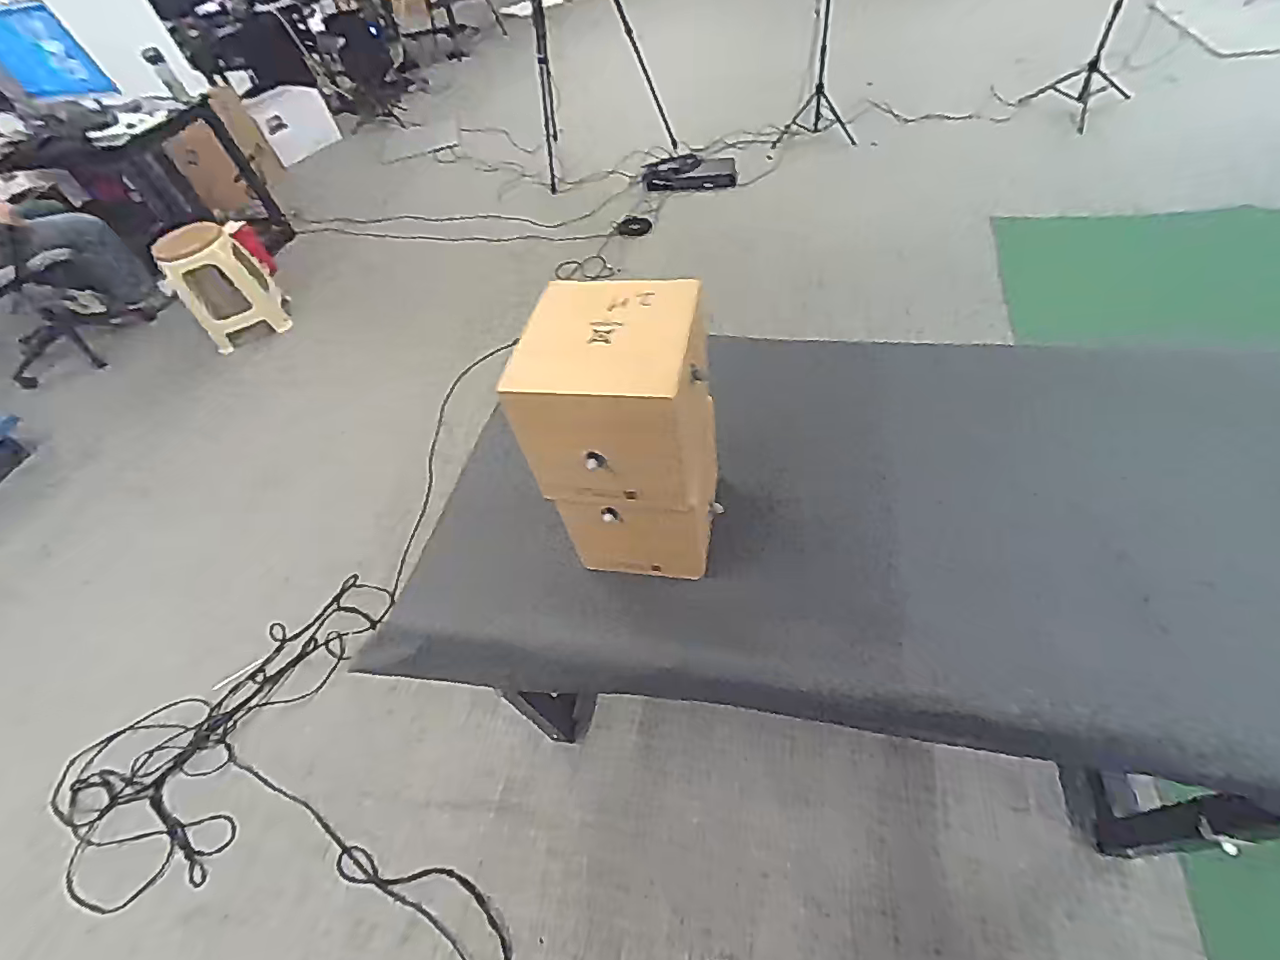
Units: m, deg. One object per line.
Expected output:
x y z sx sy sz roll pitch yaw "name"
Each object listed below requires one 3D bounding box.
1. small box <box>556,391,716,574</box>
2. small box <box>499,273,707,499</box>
0.008 -0.001 0.708 0.168 0.176 0.179 4 53 13 "small box"
-0.021 -0.097 0.576 0.168 0.176 0.179 5 53 12 "small box"
